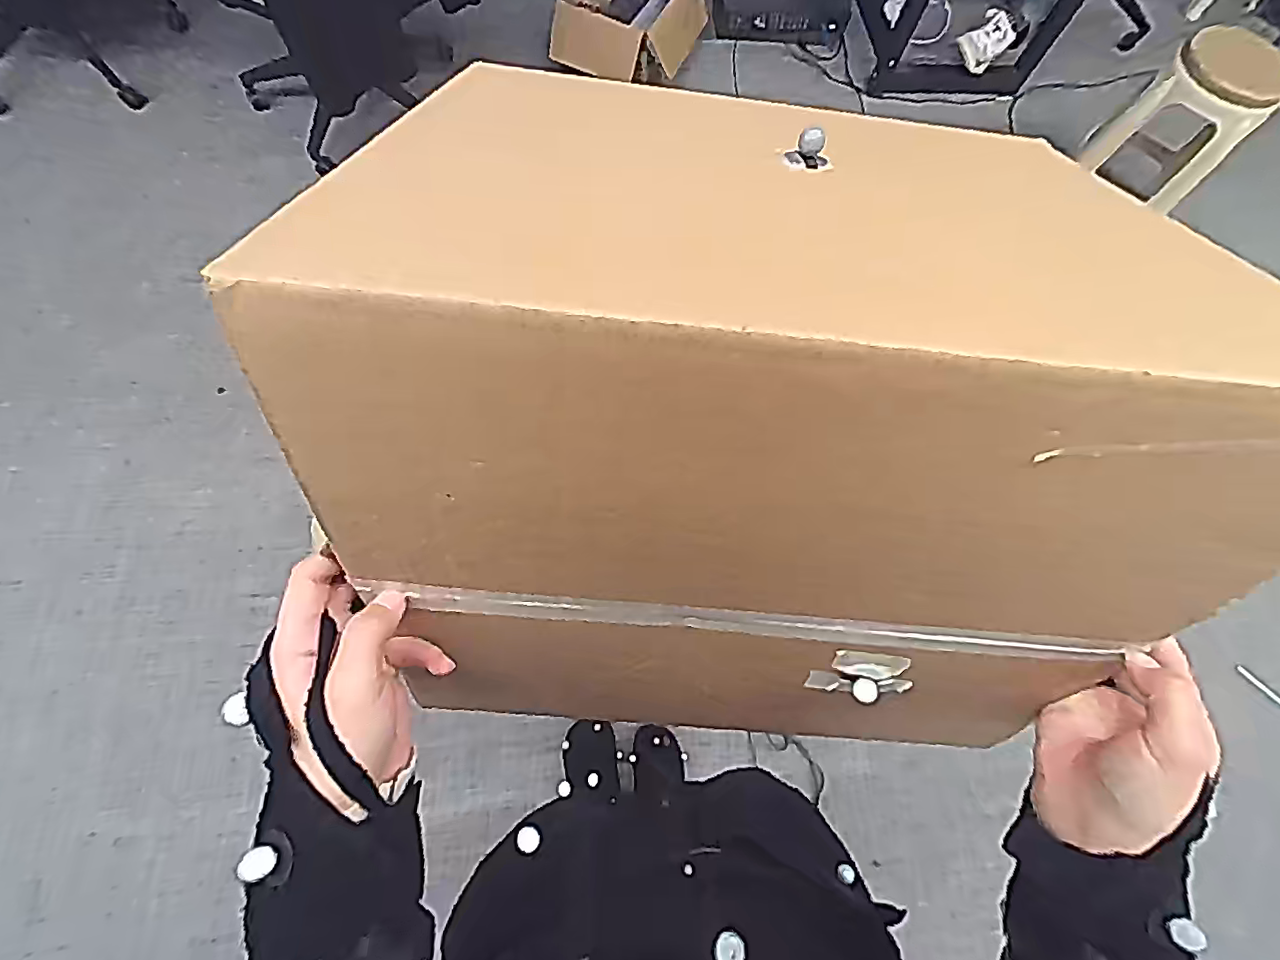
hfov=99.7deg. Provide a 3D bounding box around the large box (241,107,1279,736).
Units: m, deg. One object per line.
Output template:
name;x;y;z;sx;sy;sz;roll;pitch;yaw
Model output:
large box;0.060;-0.038;0.384;0.408;0.320;0.320;4;47;-3
